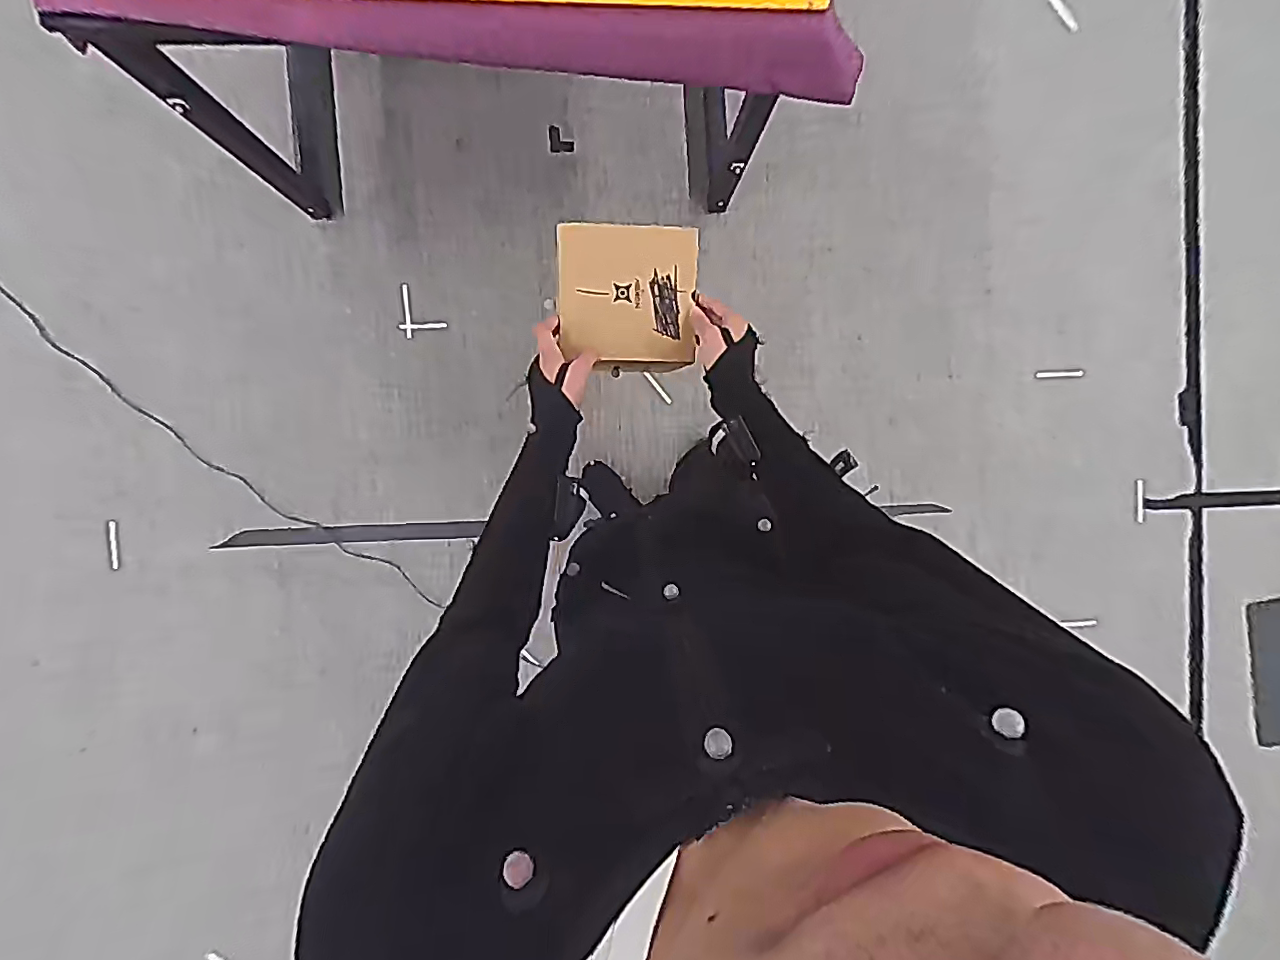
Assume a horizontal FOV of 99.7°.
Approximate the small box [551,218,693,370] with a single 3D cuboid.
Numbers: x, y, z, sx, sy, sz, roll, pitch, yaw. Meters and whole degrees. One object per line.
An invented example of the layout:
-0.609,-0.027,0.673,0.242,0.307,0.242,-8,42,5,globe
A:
-0.034,-0.245,0.753,0.179,0.176,0.168,0,97,-9,small box
